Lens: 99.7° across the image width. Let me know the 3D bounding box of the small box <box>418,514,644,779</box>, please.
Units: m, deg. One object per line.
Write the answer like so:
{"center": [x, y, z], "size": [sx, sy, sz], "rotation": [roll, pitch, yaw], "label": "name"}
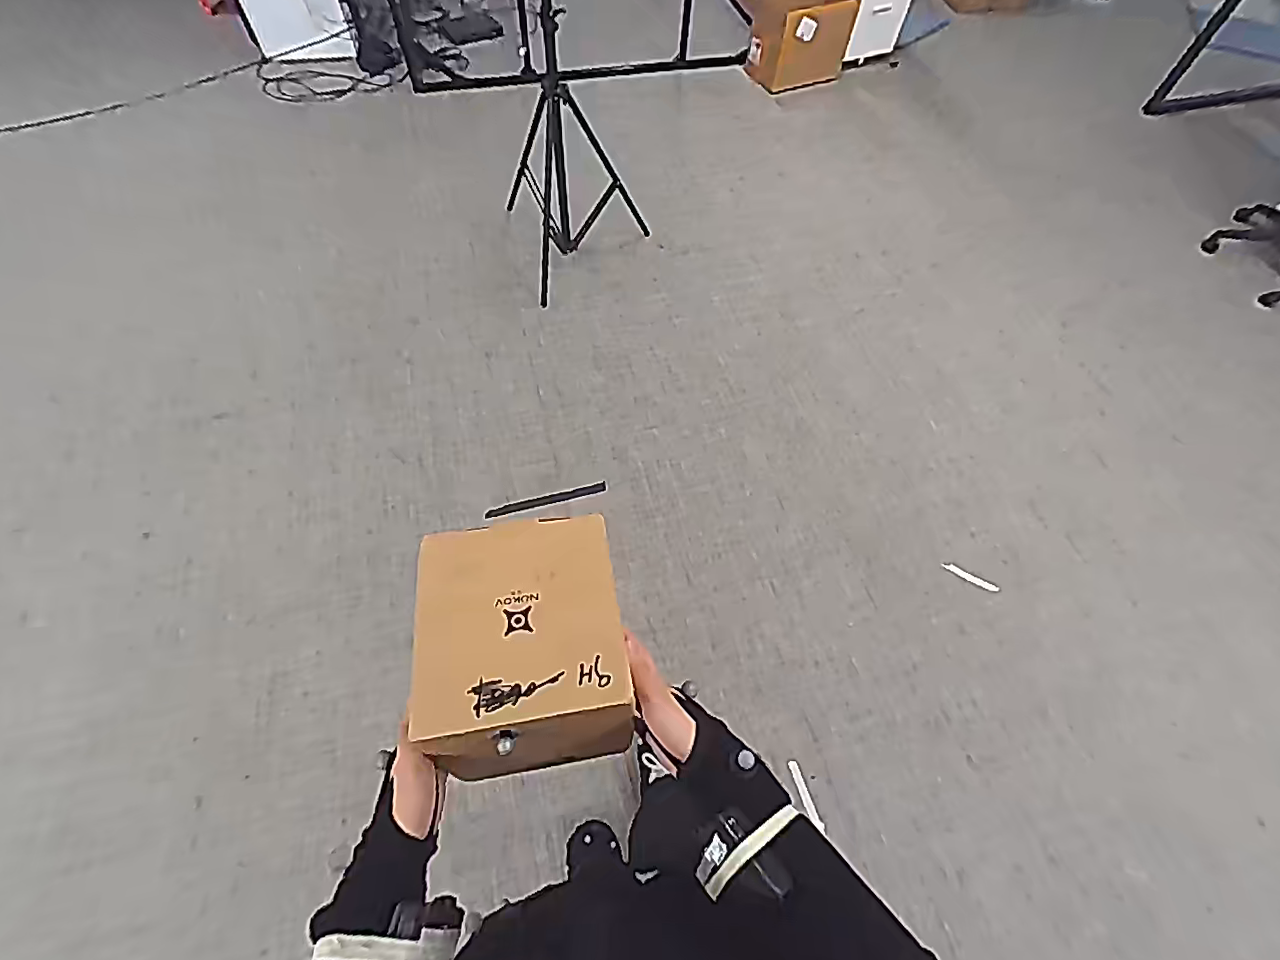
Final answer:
{"center": [-0.095, 0.156, 0.506], "size": [0.168, 0.176, 0.179], "rotation": [-7, 53, -8], "label": "small box"}
